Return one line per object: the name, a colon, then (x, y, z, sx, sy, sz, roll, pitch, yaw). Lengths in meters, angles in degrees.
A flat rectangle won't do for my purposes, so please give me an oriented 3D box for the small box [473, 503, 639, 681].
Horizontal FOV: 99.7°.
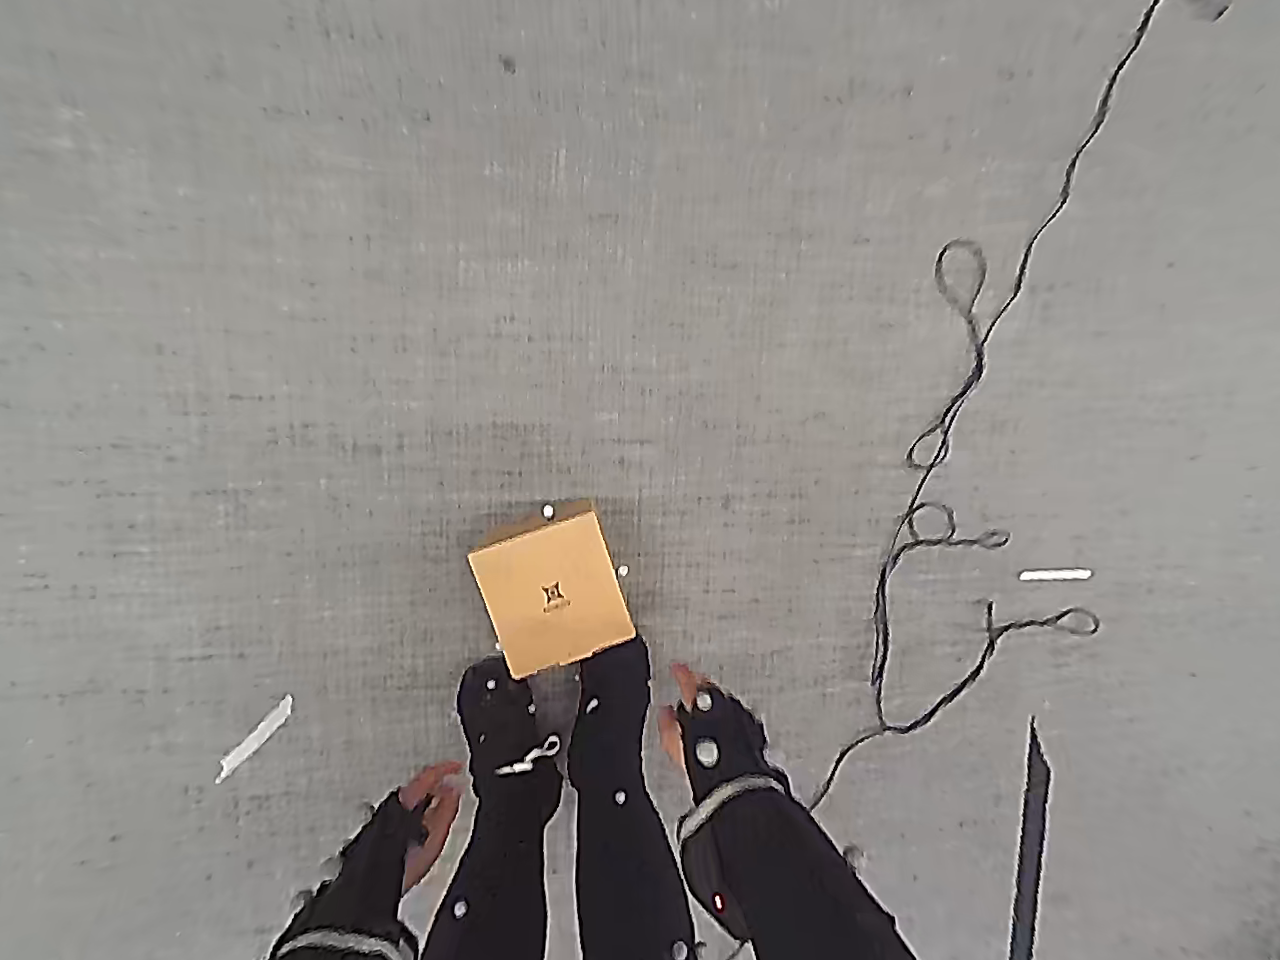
small box: (-0.113, 0.138, 0.749, 0.168, 0.176, 0.179, -19, 98, -6)
